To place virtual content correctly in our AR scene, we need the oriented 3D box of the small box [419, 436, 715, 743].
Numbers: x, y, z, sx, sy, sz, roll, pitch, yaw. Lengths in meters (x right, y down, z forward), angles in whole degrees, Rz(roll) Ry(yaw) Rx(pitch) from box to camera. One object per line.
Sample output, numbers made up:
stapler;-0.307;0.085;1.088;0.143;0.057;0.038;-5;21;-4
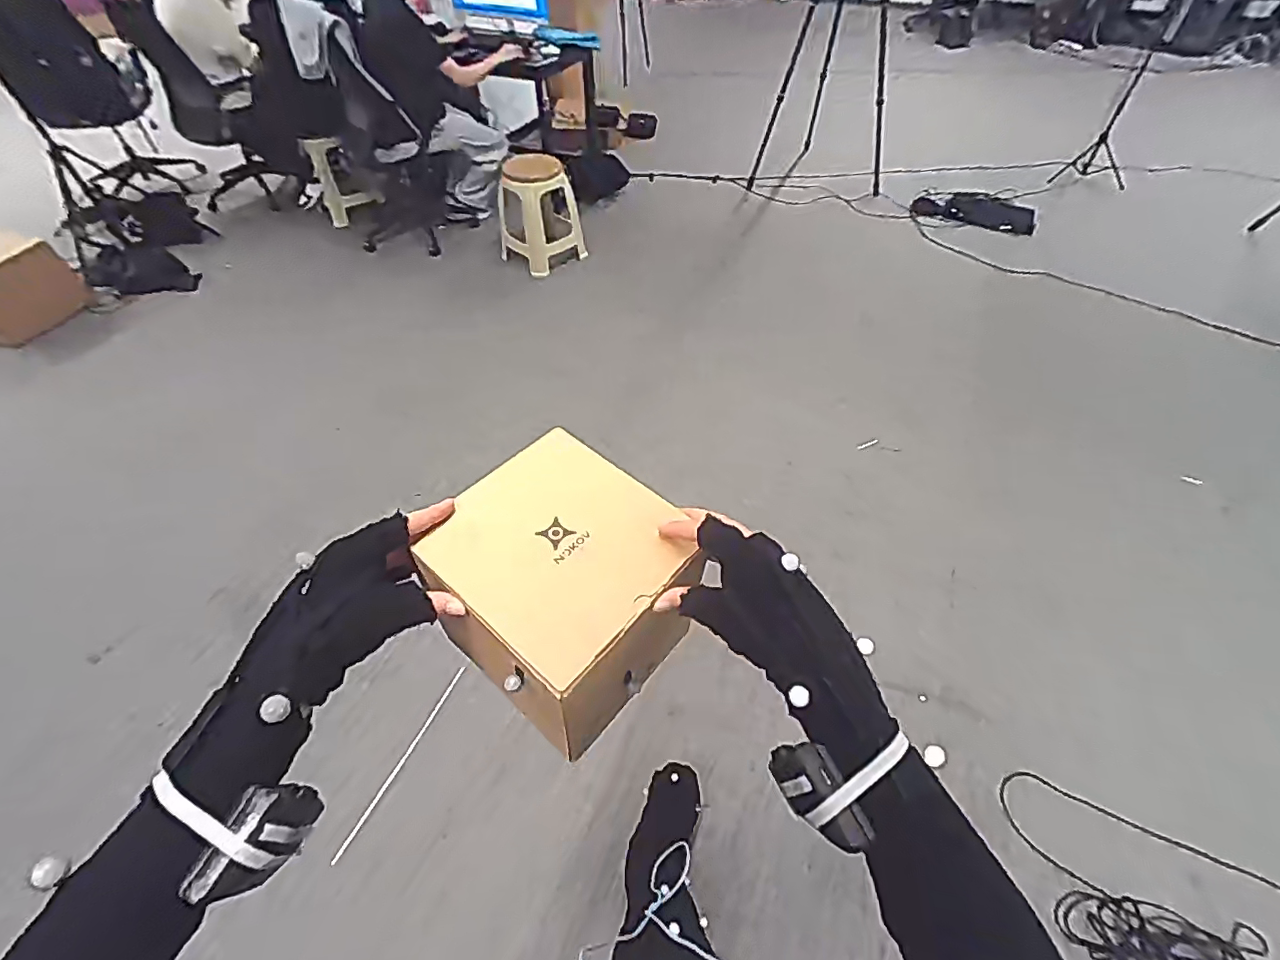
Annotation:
small box;-0.062;0.099;0.485;0.179;0.176;0.168;35;56;23
